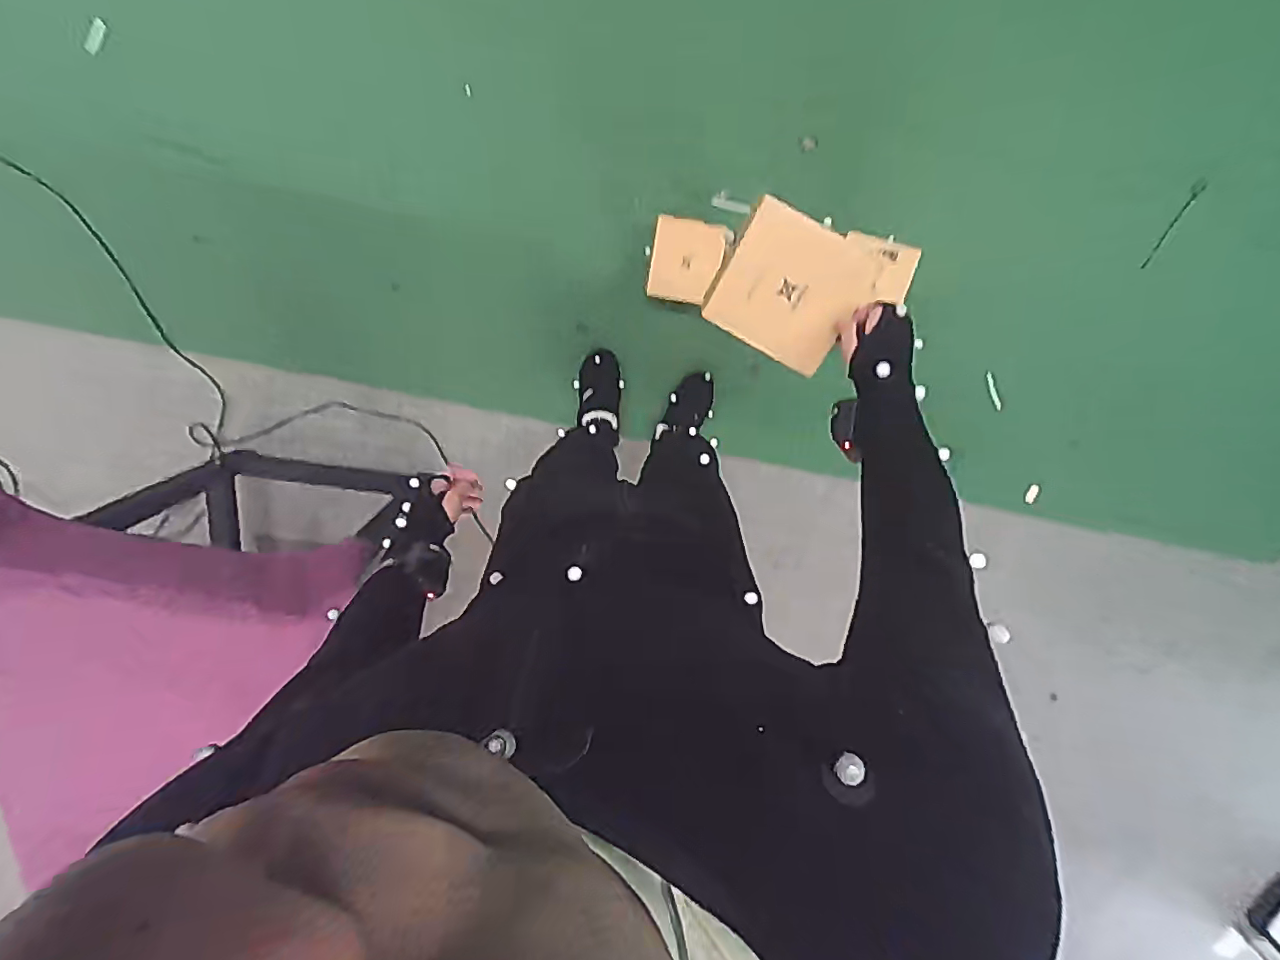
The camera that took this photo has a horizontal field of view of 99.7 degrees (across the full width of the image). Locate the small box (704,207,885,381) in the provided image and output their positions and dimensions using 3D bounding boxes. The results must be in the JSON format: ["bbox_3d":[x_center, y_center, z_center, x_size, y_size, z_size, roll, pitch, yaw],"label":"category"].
[{"bbox_3d":[0.208,-0.272,0.777,0.179,0.176,0.168,27,116,-6],"label":"small box"}]

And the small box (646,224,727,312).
[{"bbox_3d":[0.109,-0.522,1.346,0.168,0.176,0.179,8,108,-4],"label":"small box"}]

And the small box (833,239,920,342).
[{"bbox_3d":[0.480,-0.425,1.213,0.168,0.176,0.179,12,111,-6],"label":"small box"}]
